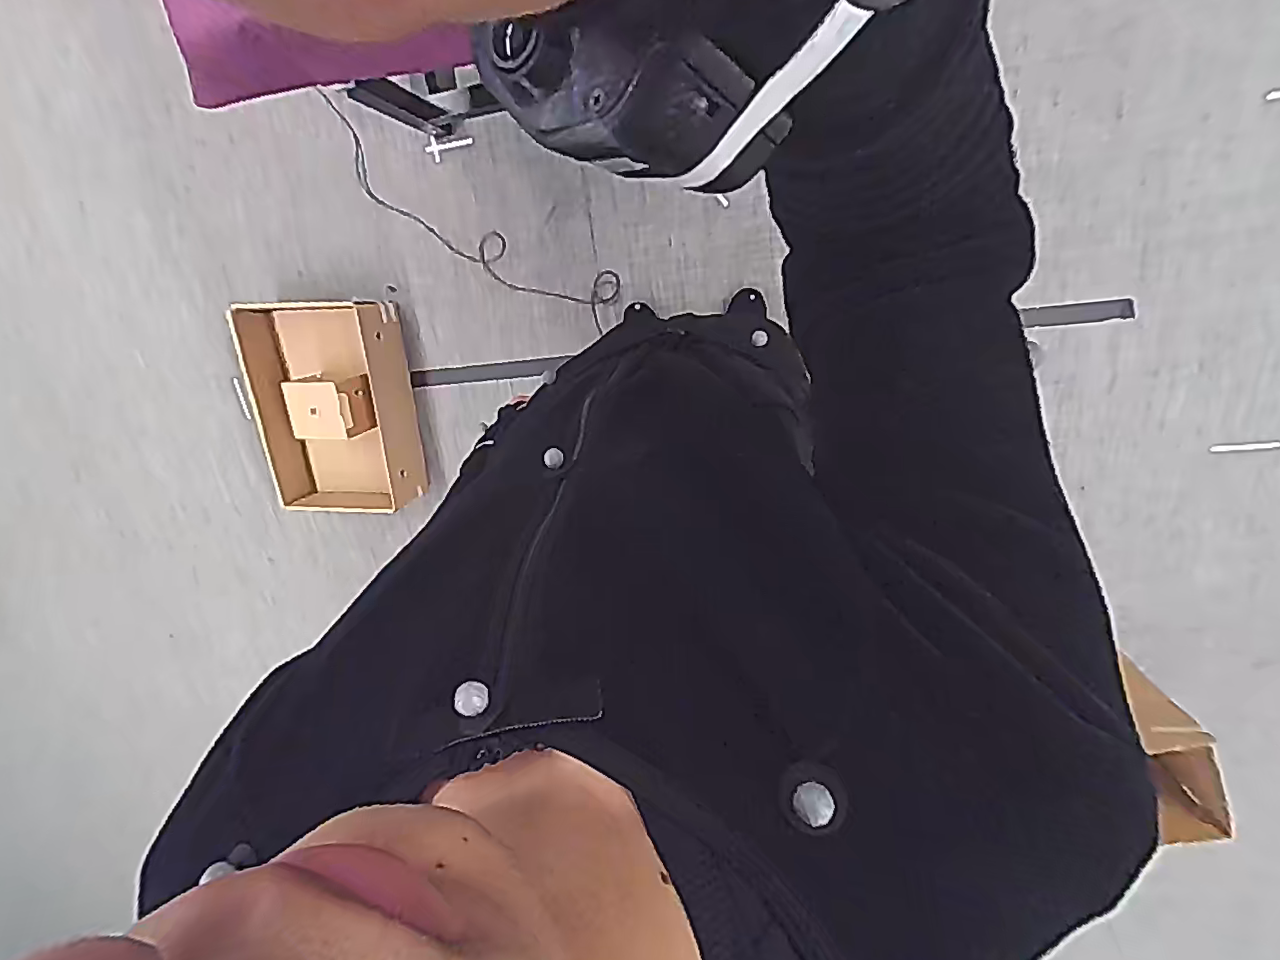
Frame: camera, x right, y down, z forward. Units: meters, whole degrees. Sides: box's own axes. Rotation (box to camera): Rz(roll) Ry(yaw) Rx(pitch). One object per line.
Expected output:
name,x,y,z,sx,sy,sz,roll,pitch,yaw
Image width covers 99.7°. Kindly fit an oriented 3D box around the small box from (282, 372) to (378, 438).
small box,-0.907,-0.227,1.604,0.179,0.176,0.168,2,110,9
